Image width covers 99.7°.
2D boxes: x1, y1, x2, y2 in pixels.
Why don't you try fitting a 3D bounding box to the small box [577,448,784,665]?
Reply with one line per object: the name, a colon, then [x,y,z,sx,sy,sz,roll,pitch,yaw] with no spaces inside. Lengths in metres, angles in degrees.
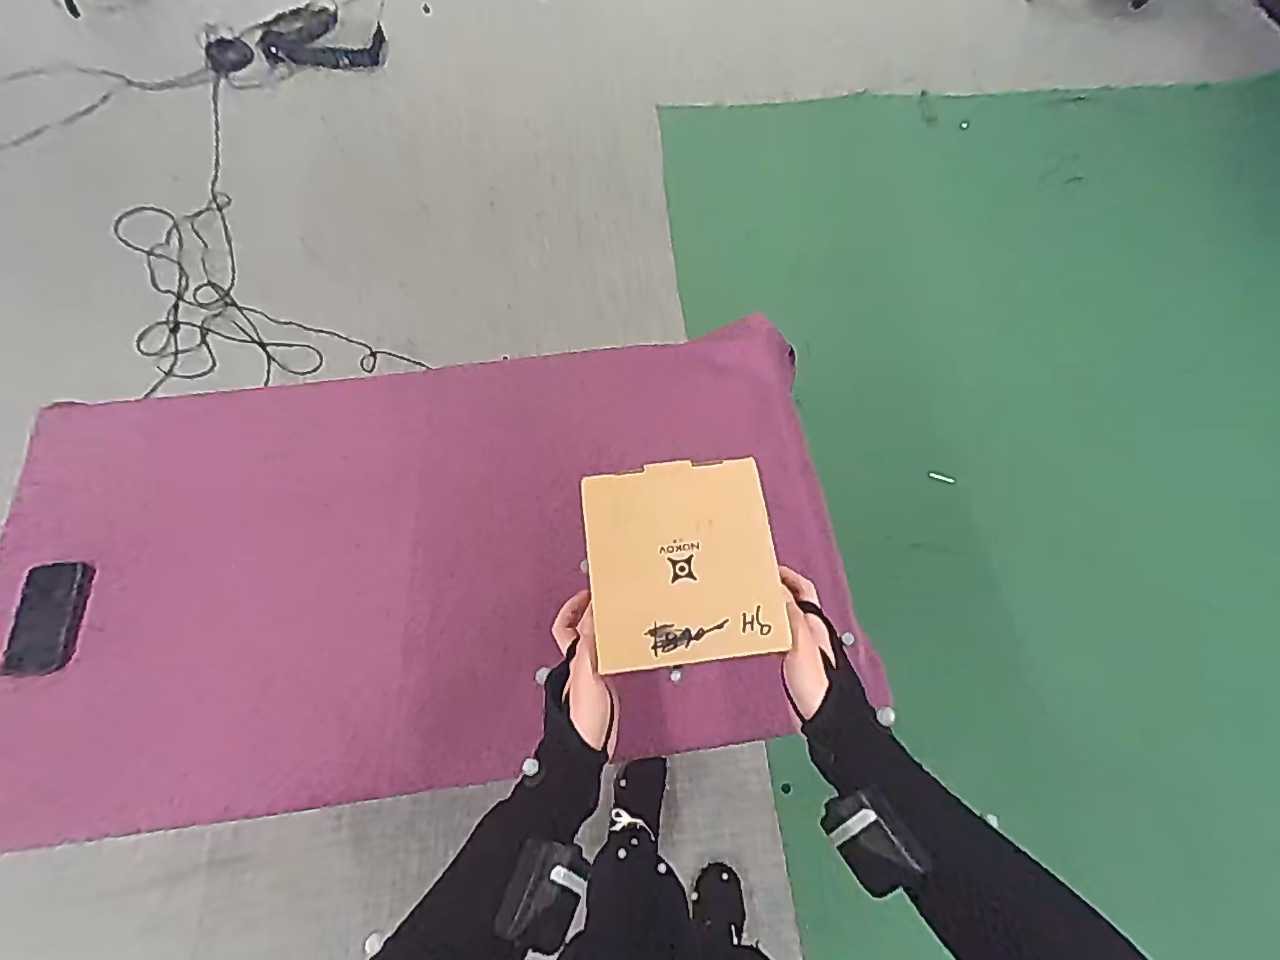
small box: [0.030,0.086,0.544,0.168,0.176,0.179,-7,71,-1]
